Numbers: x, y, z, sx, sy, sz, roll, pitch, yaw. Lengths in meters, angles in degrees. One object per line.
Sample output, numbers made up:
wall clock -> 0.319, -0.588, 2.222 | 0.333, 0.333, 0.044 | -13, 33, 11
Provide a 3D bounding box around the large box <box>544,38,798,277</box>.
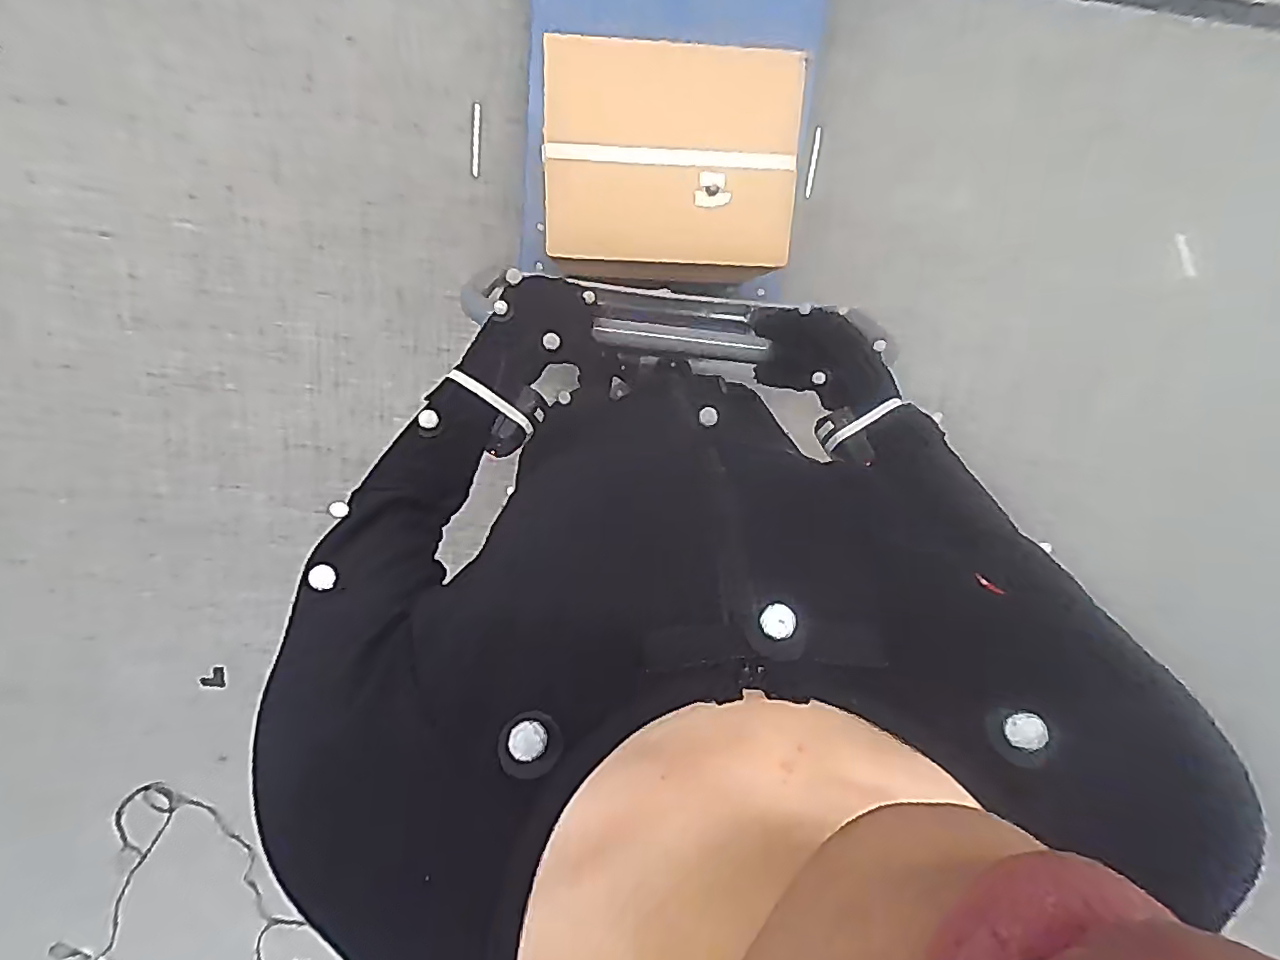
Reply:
large box -> 0.038, -0.564, 1.018 | 0.408, 0.320, 0.320 | 0, 106, -4
